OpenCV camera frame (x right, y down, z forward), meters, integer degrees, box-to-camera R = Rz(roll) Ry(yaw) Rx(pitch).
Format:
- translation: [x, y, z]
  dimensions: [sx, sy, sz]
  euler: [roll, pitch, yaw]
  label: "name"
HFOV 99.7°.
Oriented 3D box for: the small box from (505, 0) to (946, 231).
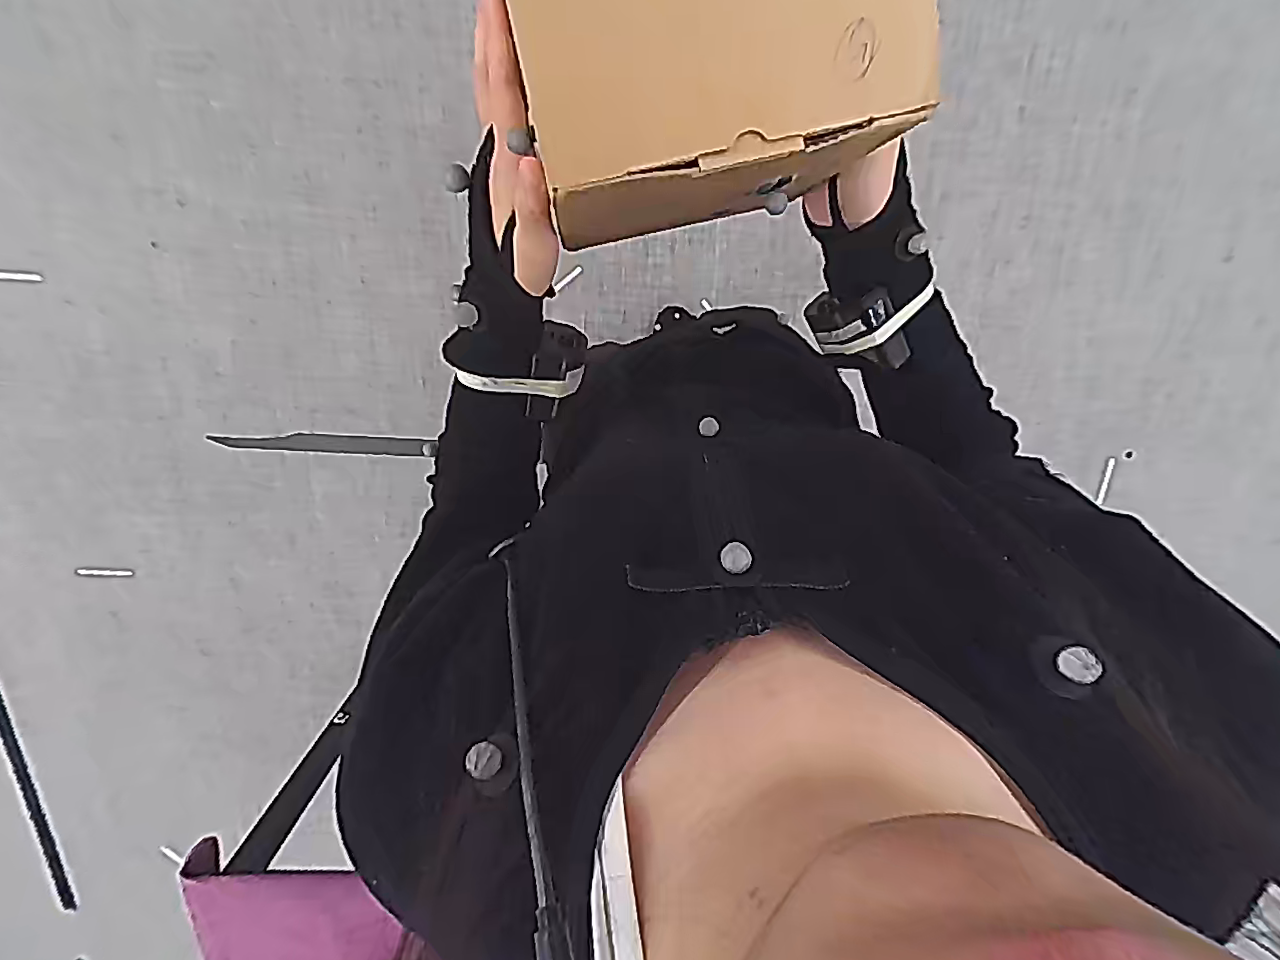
- translation: [0.019, -0.237, 0.268]
  dimensions: [0.168, 0.176, 0.179]
  euler: [-14, 106, -3]
  label: "small box"
